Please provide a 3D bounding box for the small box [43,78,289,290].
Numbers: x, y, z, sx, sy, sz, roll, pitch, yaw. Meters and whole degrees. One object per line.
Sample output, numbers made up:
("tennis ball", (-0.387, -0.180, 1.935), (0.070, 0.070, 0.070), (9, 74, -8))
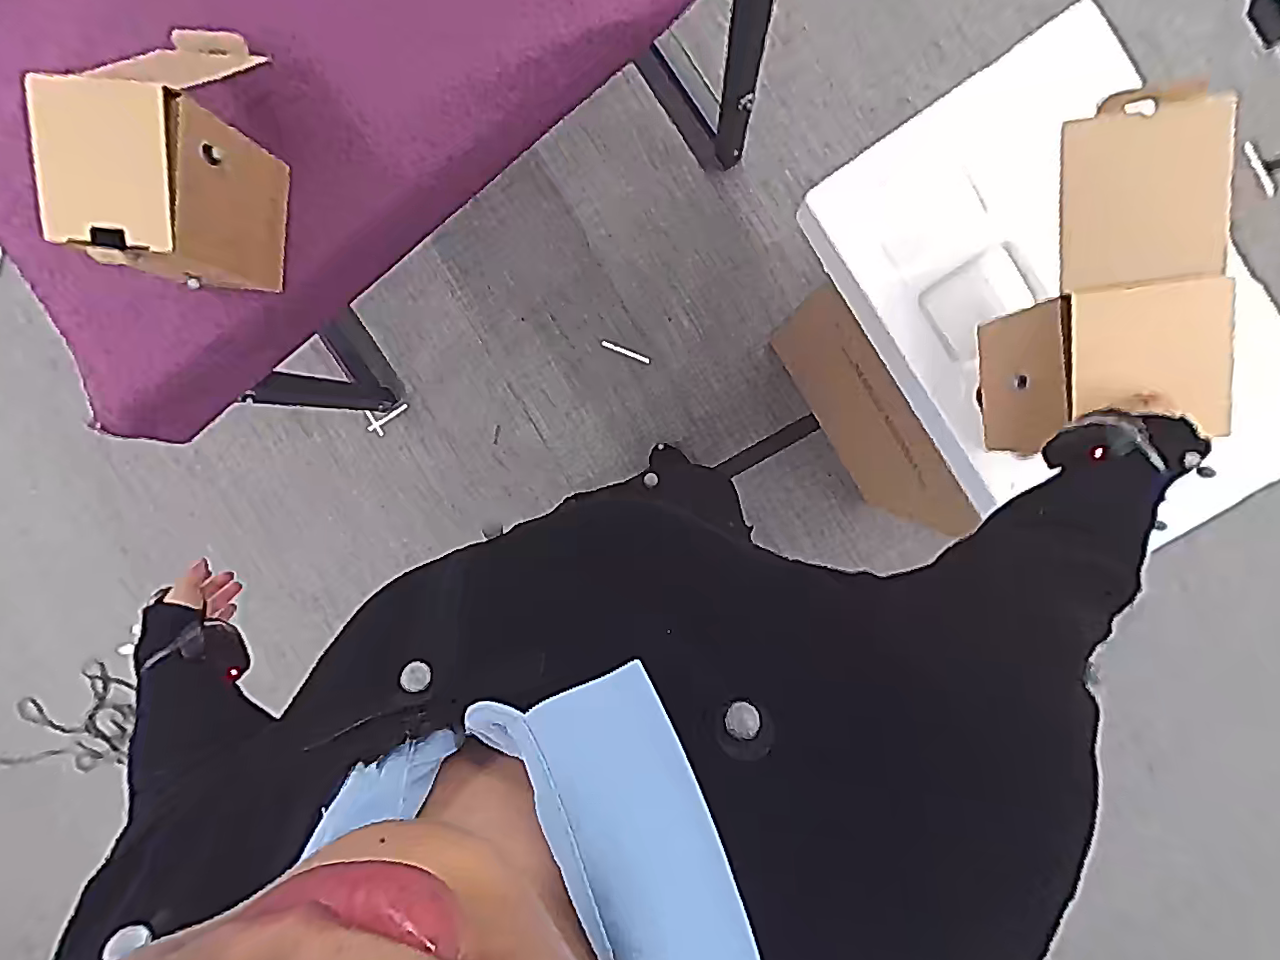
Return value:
("small box", (-0.585, -0.362, 0.689), (0.168, 0.176, 0.179), (8, 94, 5))
